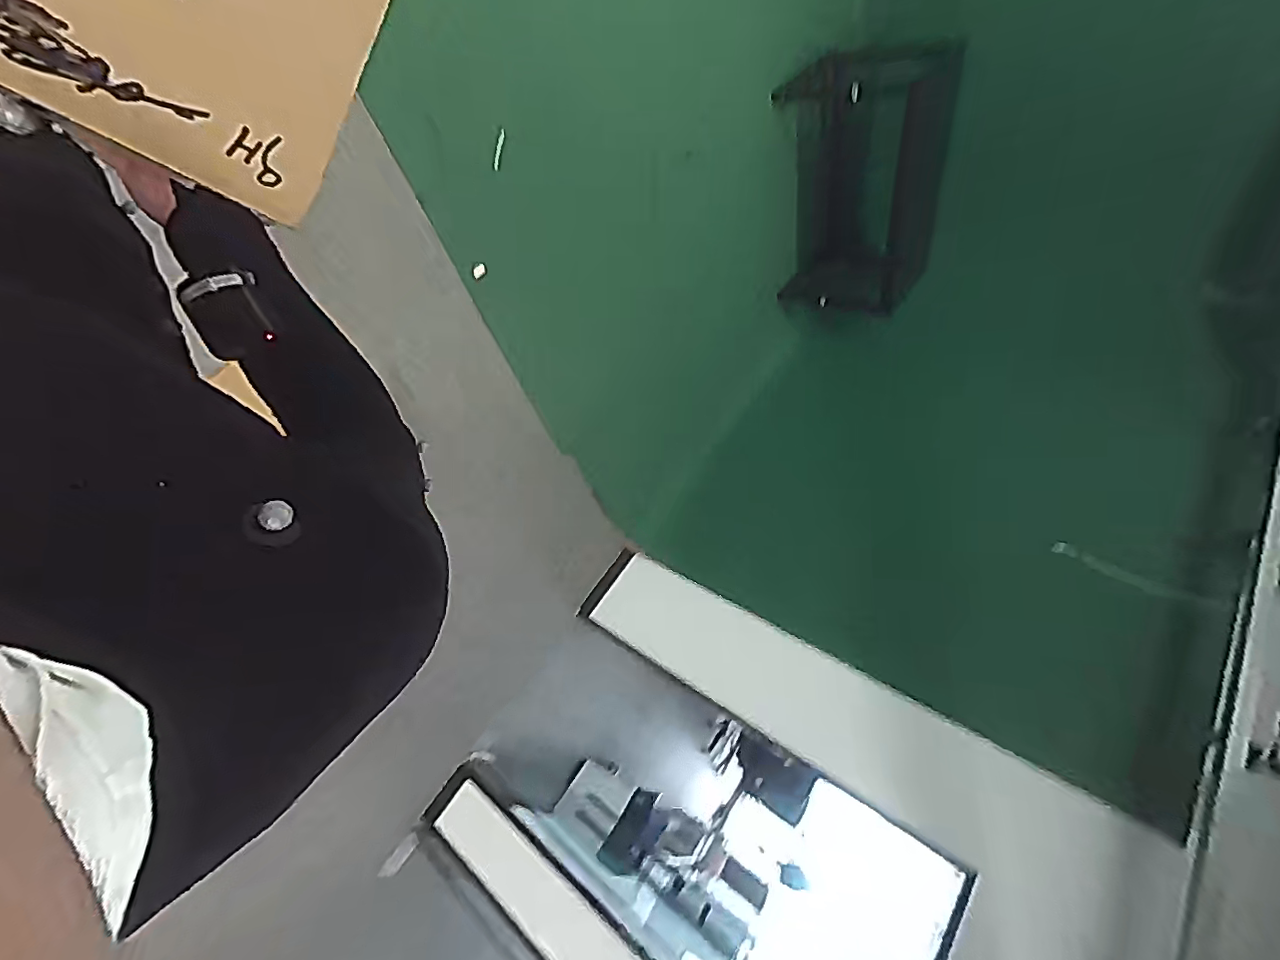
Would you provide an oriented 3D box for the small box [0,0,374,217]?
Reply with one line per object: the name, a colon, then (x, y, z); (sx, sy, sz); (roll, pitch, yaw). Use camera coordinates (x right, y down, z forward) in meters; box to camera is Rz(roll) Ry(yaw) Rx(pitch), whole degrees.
small box: (-0.248, -0.260, 0.247); (0.168, 0.176, 0.179); (12, 107, -58)
